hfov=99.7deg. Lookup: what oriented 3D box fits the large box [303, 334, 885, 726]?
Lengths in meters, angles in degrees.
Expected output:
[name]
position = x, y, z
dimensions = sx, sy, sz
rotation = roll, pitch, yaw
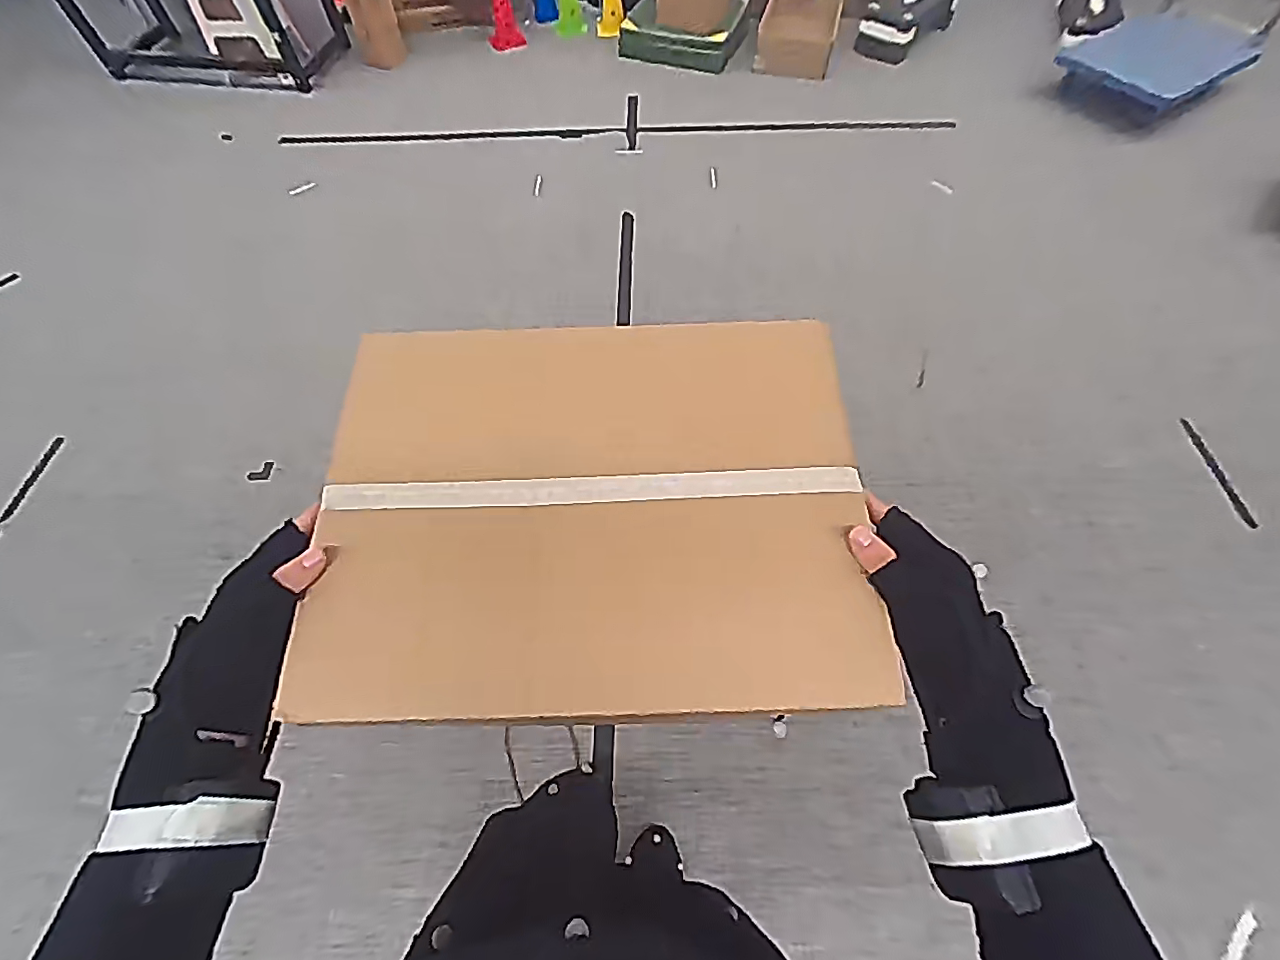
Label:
[large box]
position = -0.032, 0.077, 0.560
dimensions = 0.408, 0.320, 0.320
rotation = -2, 65, 0
